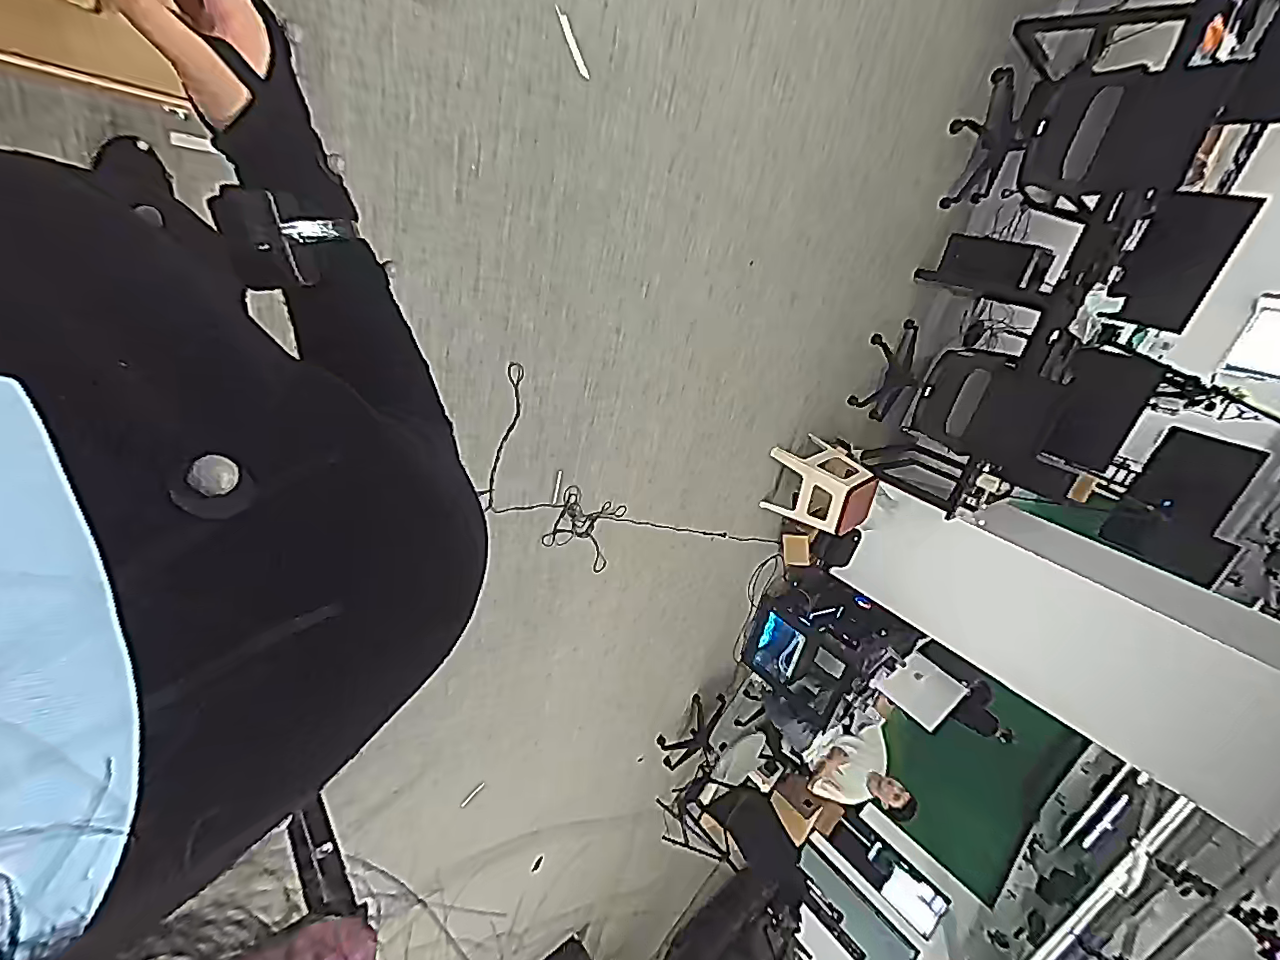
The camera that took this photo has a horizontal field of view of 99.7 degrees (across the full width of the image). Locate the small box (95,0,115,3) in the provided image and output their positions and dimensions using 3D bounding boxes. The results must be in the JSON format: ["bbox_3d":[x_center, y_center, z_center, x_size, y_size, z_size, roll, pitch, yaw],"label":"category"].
[{"bbox_3d":[-0.840,-0.813,0.747,0.168,0.176,0.179,-2,118,-44],"label":"small box"}]
